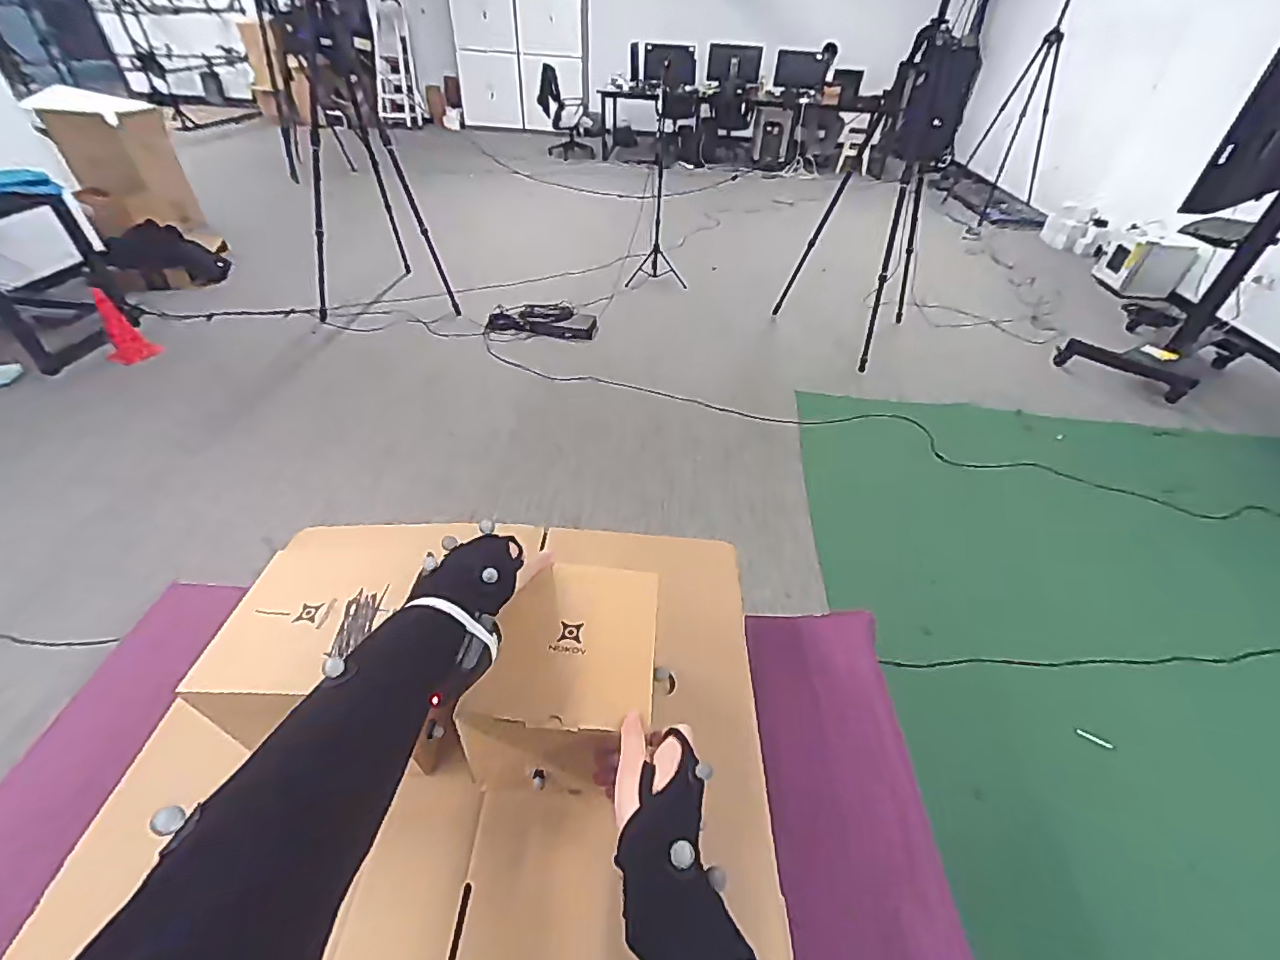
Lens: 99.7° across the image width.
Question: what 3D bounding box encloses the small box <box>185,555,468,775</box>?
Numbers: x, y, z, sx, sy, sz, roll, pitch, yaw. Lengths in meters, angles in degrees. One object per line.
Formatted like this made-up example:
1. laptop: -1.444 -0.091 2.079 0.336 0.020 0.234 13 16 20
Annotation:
1. small box: -0.306 0.198 0.580 0.179 0.176 0.168 -1 41 5

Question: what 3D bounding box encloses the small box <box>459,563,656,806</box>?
1. small box: -0.077 0.215 0.574 0.168 0.176 0.179 6 43 0
